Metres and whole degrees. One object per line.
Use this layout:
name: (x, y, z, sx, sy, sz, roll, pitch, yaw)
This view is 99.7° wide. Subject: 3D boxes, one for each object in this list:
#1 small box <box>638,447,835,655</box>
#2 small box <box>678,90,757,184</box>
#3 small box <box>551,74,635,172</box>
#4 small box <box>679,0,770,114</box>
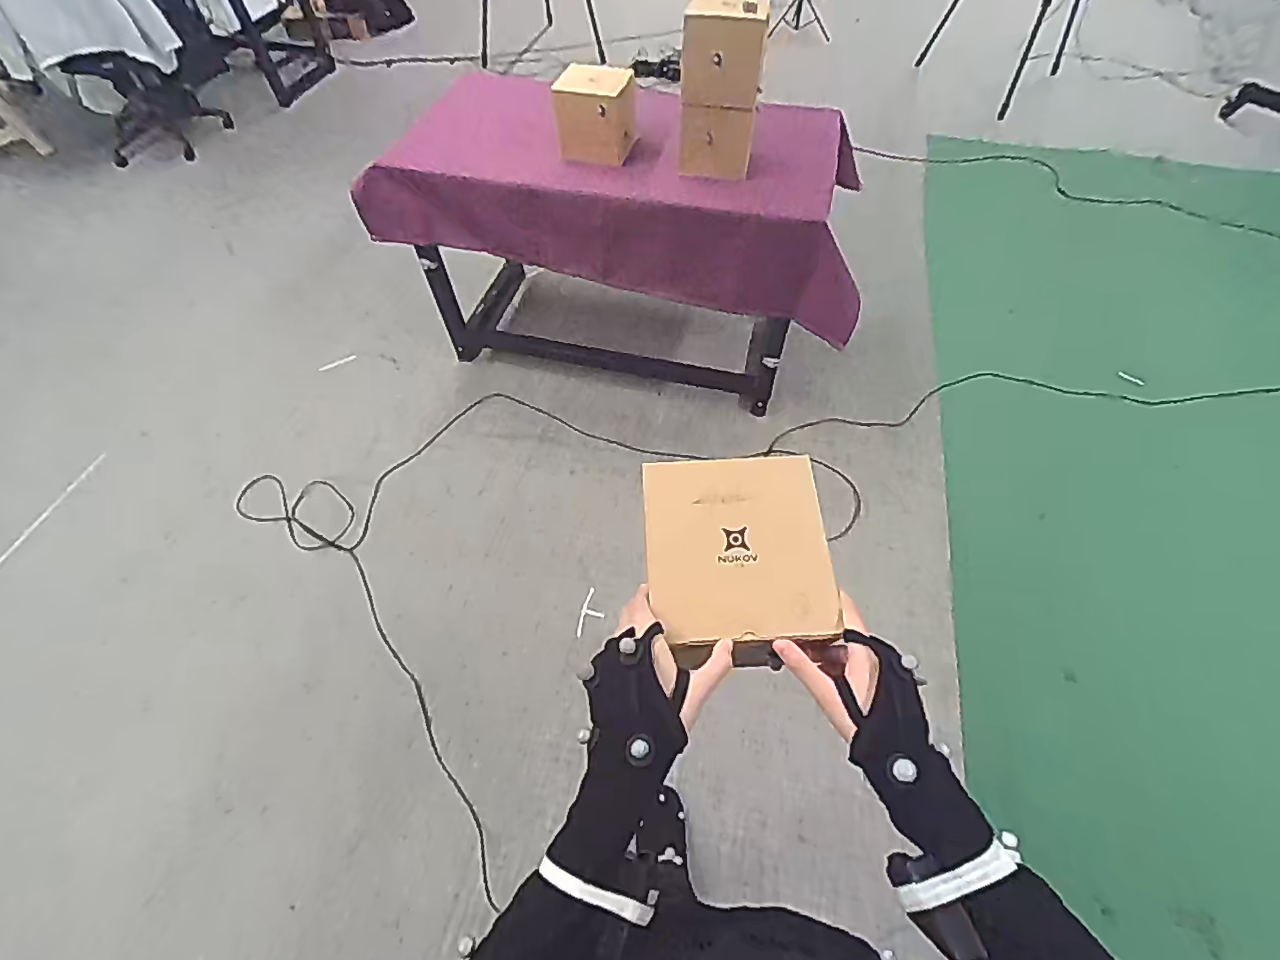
small box: (0.085, 0.084, 0.566, 0.168, 0.176, 0.179, -2, 63, 0)
small box: (0.196, -0.884, 1.386, 0.179, 0.176, 0.168, 9, 56, 8)
small box: (-0.118, -0.952, 1.444, 0.179, 0.176, 0.168, 13, 56, 9)
small box: (0.191, -0.974, 1.249, 0.179, 0.176, 0.168, 10, 56, 9)
